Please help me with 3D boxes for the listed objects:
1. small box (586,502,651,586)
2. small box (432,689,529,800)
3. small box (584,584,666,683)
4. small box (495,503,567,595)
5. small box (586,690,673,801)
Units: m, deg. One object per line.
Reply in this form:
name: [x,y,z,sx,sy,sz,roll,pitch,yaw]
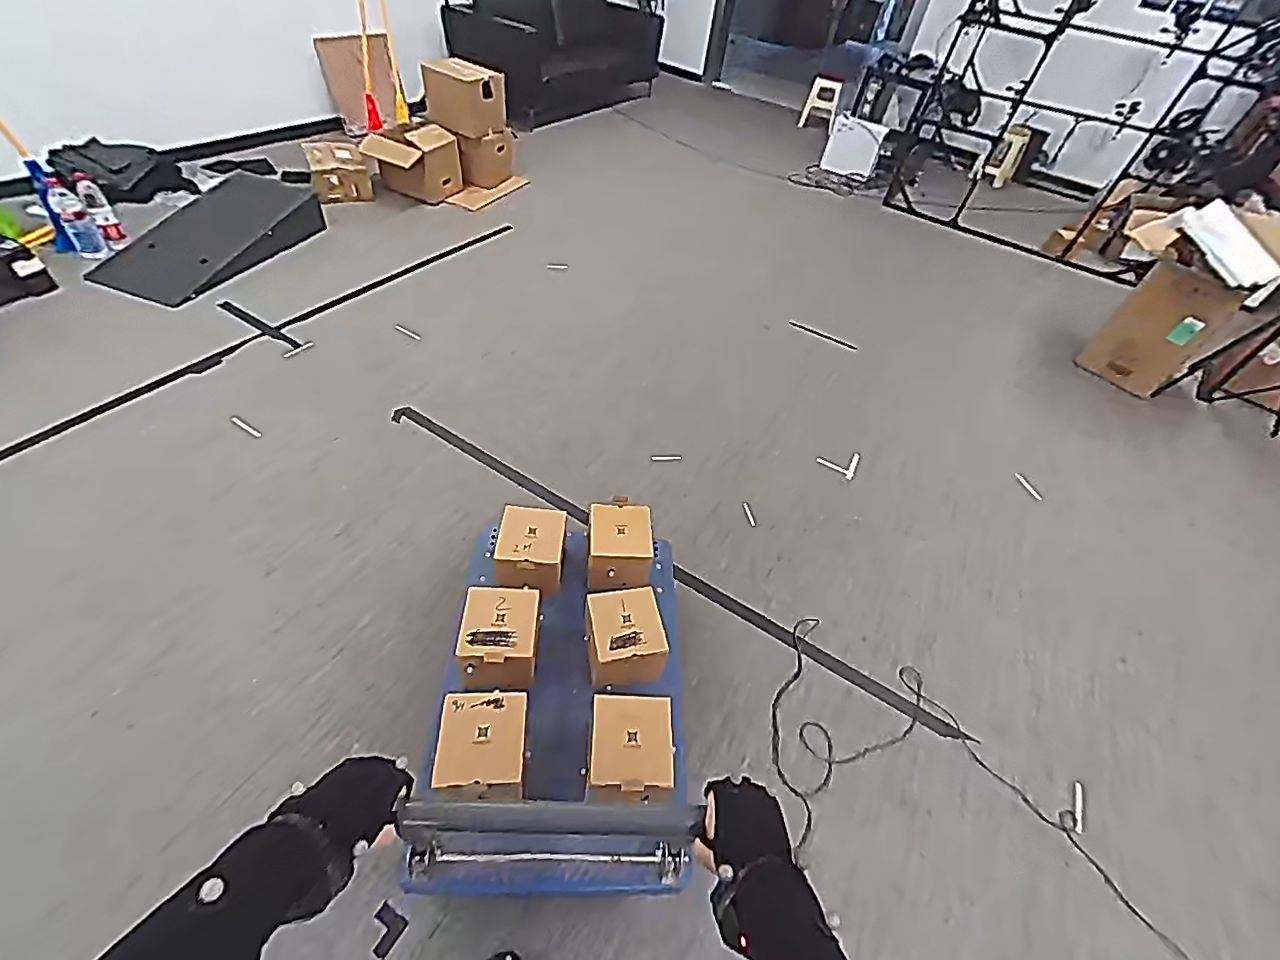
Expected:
small box: [-0.064,0.184,1.518,0.168,0.176,0.179,3,47,-9]
small box: [-0.321,0.552,1.123,0.168,0.176,0.179,3,48,-9]
small box: [-0.043,0.384,1.335,0.168,0.176,0.179,-4,48,-15]
small box: [-0.292,0.189,1.465,0.168,0.176,0.179,6,48,-5]
small box: [-0.026,0.574,1.162,0.168,0.176,0.179,6,46,-7]
